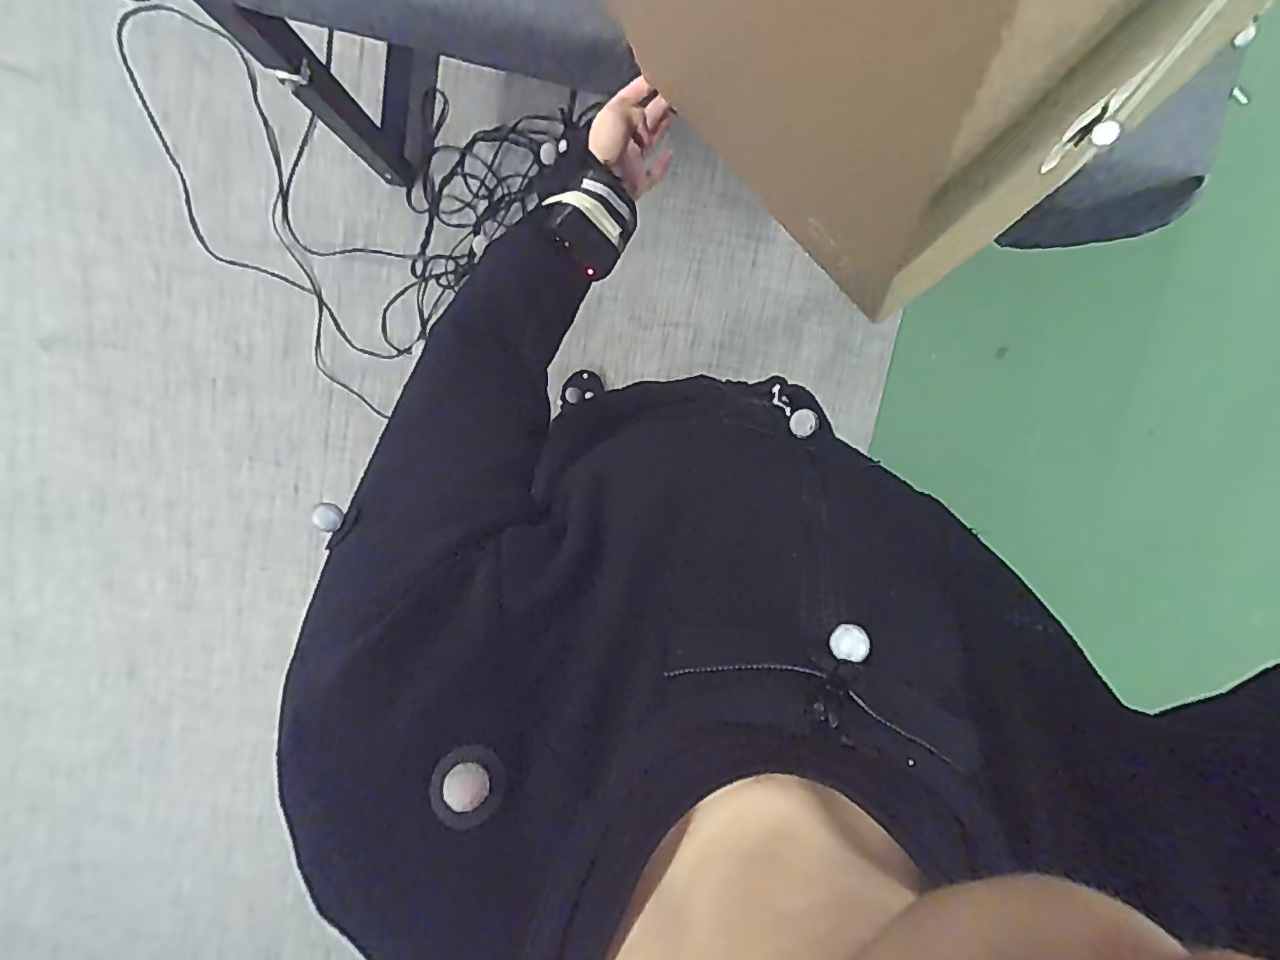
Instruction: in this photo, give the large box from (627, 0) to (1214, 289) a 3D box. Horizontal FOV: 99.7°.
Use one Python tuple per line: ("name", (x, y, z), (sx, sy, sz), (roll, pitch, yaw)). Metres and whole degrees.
("large box", (0.152, -0.358, 0.245), (0.320, 0.408, 0.320), (-41, 81, 14))
